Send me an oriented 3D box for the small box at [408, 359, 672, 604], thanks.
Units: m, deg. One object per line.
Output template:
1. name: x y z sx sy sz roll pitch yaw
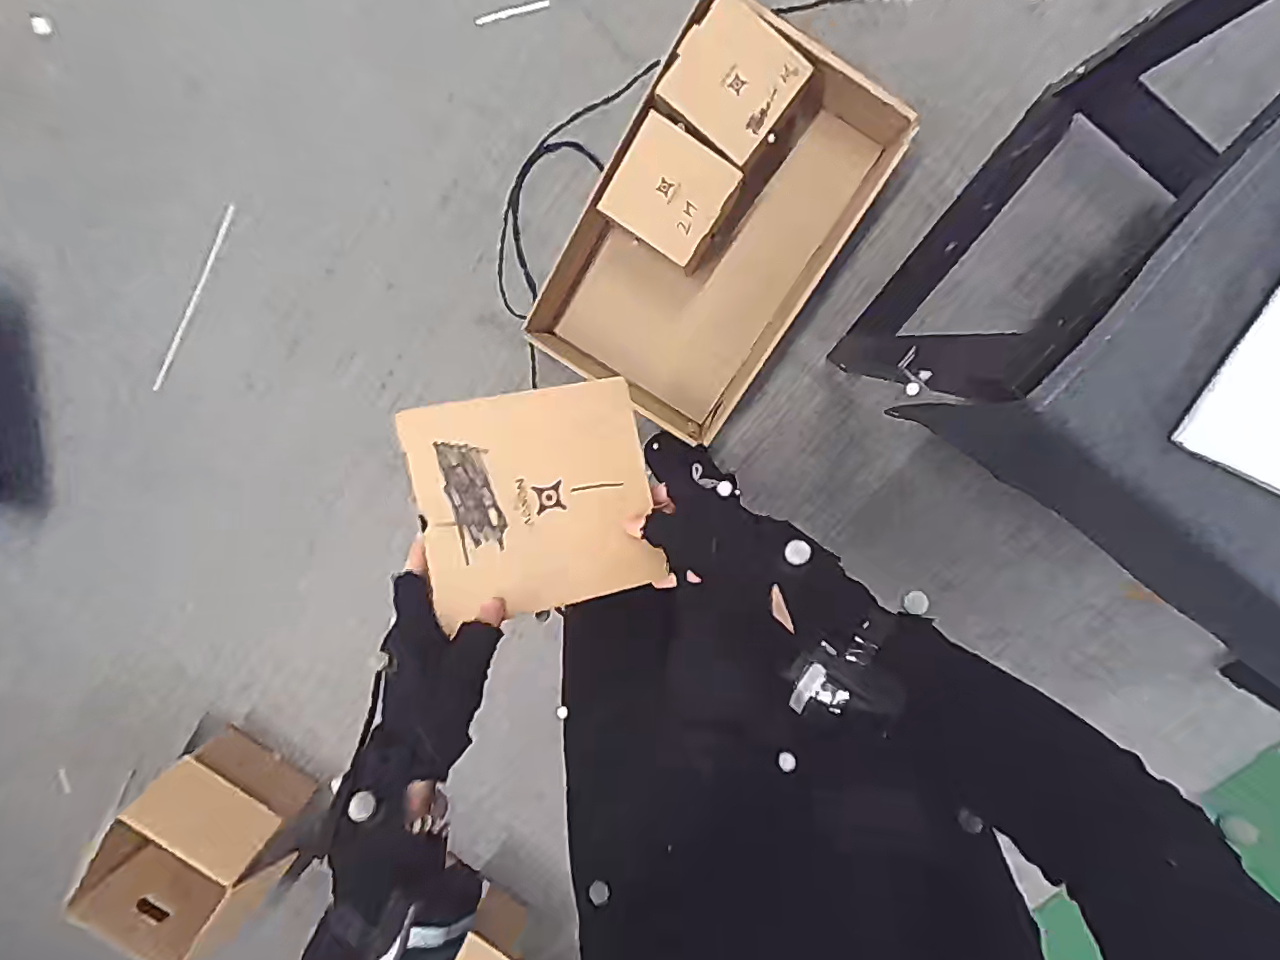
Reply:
1. small box: -0.089 0.004 0.480 0.179 0.176 0.168 -10 88 -15
